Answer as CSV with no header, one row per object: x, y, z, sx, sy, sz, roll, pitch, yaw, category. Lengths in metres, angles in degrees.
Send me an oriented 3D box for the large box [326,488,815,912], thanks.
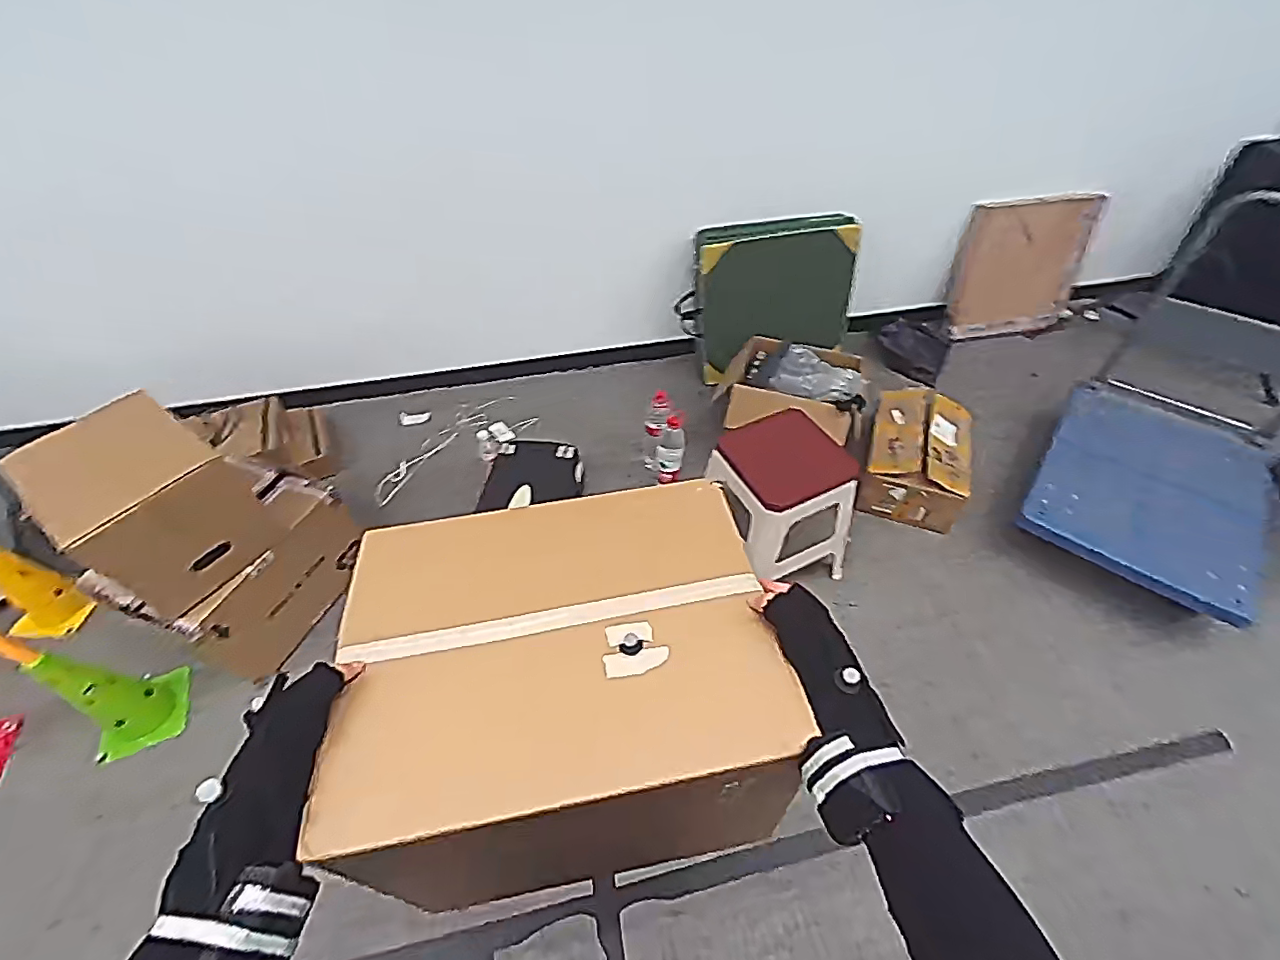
-0.069,0.250,0.637,0.408,0.320,0.320,-9,45,-6,large box
